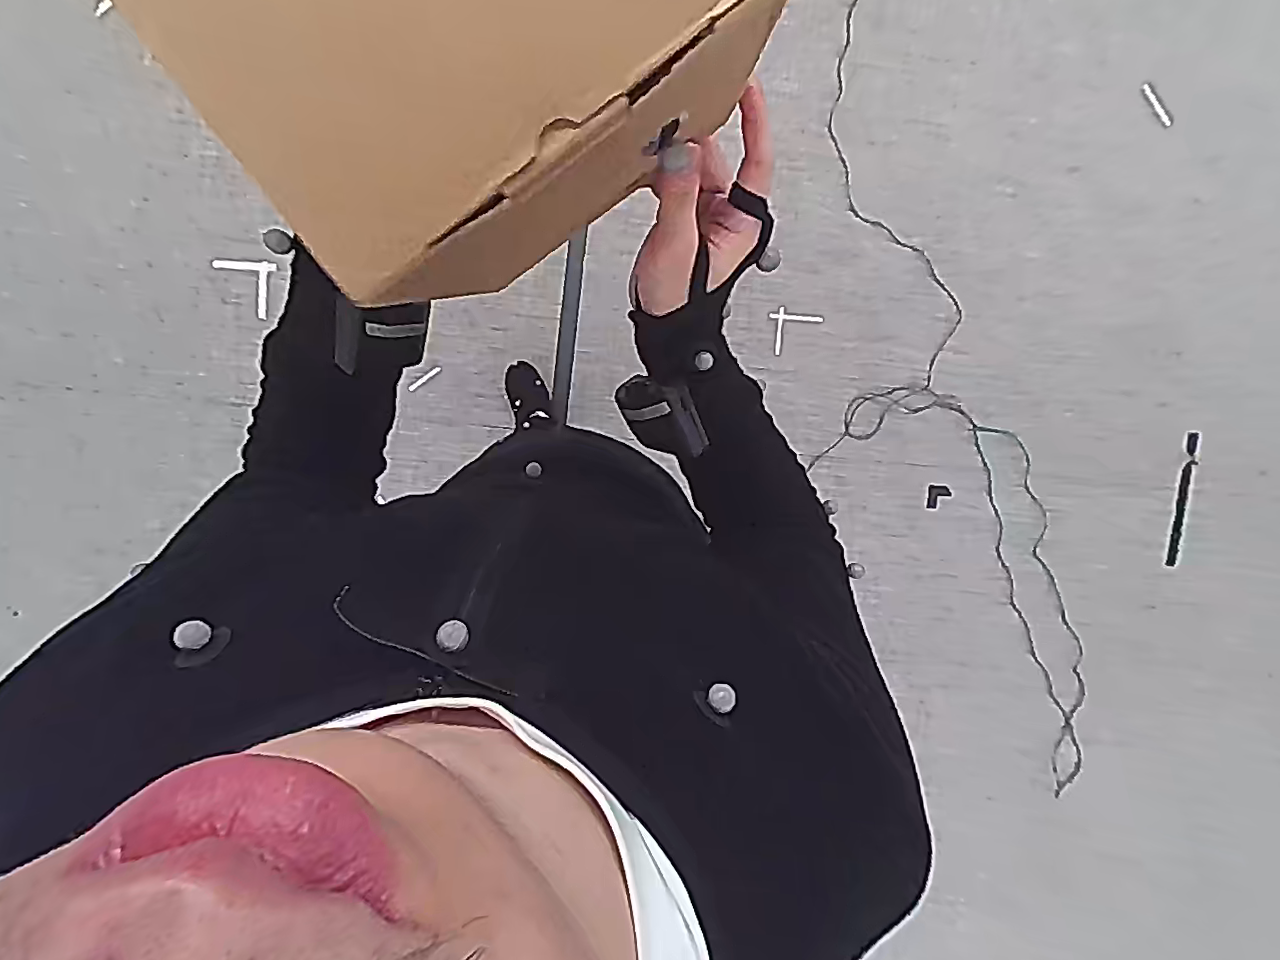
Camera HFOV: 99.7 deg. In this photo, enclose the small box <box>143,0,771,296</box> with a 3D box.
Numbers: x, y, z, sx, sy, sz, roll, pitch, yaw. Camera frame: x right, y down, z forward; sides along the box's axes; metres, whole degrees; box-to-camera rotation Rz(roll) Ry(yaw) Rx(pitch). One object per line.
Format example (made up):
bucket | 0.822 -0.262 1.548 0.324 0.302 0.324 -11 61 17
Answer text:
small box | -0.069 -0.200 0.221 0.168 0.176 0.179 -32 107 11
